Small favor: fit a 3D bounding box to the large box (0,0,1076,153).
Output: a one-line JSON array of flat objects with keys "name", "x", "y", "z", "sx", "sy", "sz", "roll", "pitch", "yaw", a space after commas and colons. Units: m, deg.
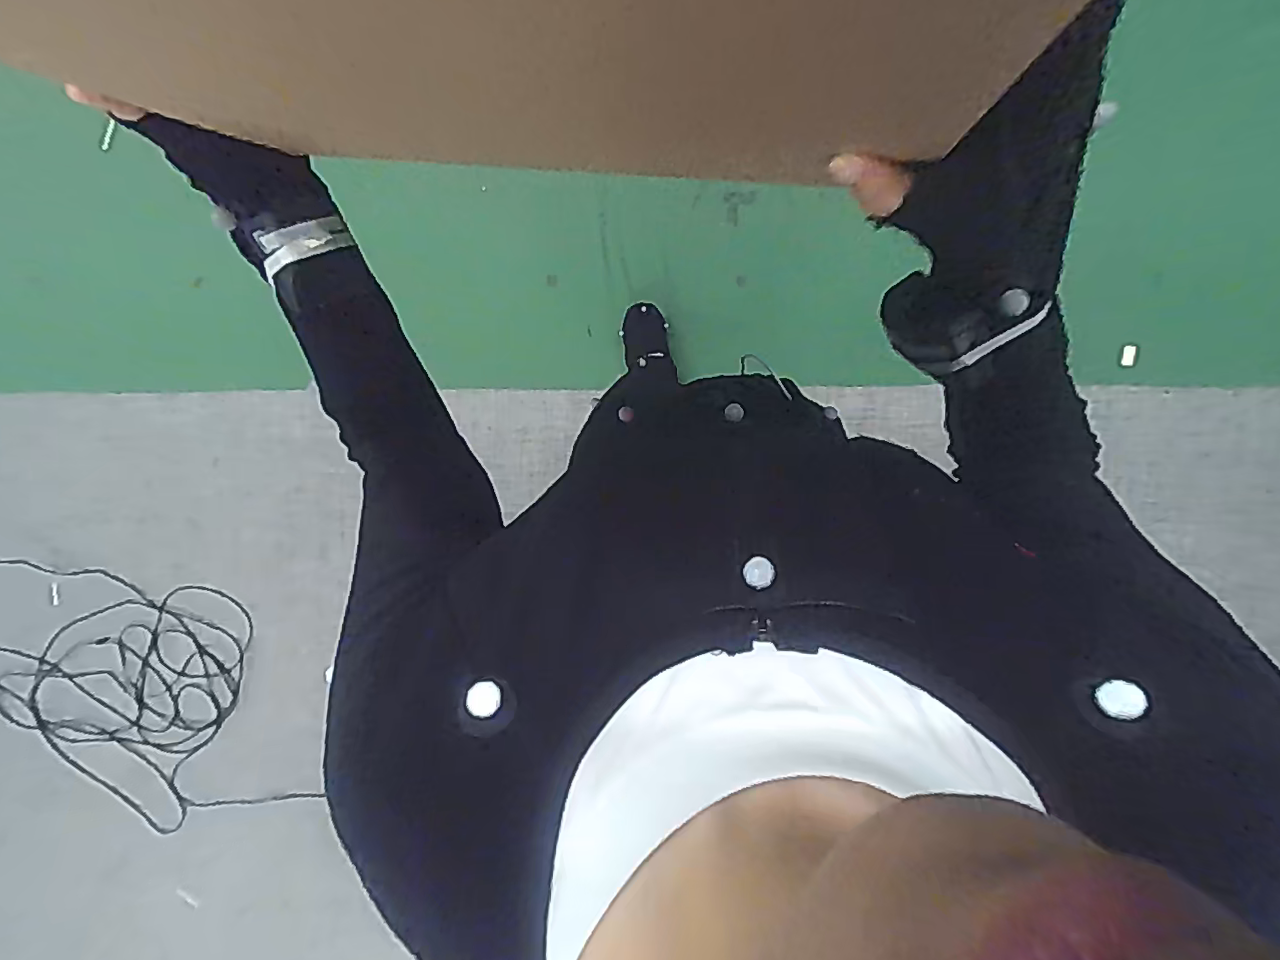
[{"name": "large box", "x": -0.060, "y": -0.298, "z": 0.135, "sx": 0.408, "sy": 0.320, "sz": 0.320, "roll": 9, "pitch": 109, "yaw": 11}]
